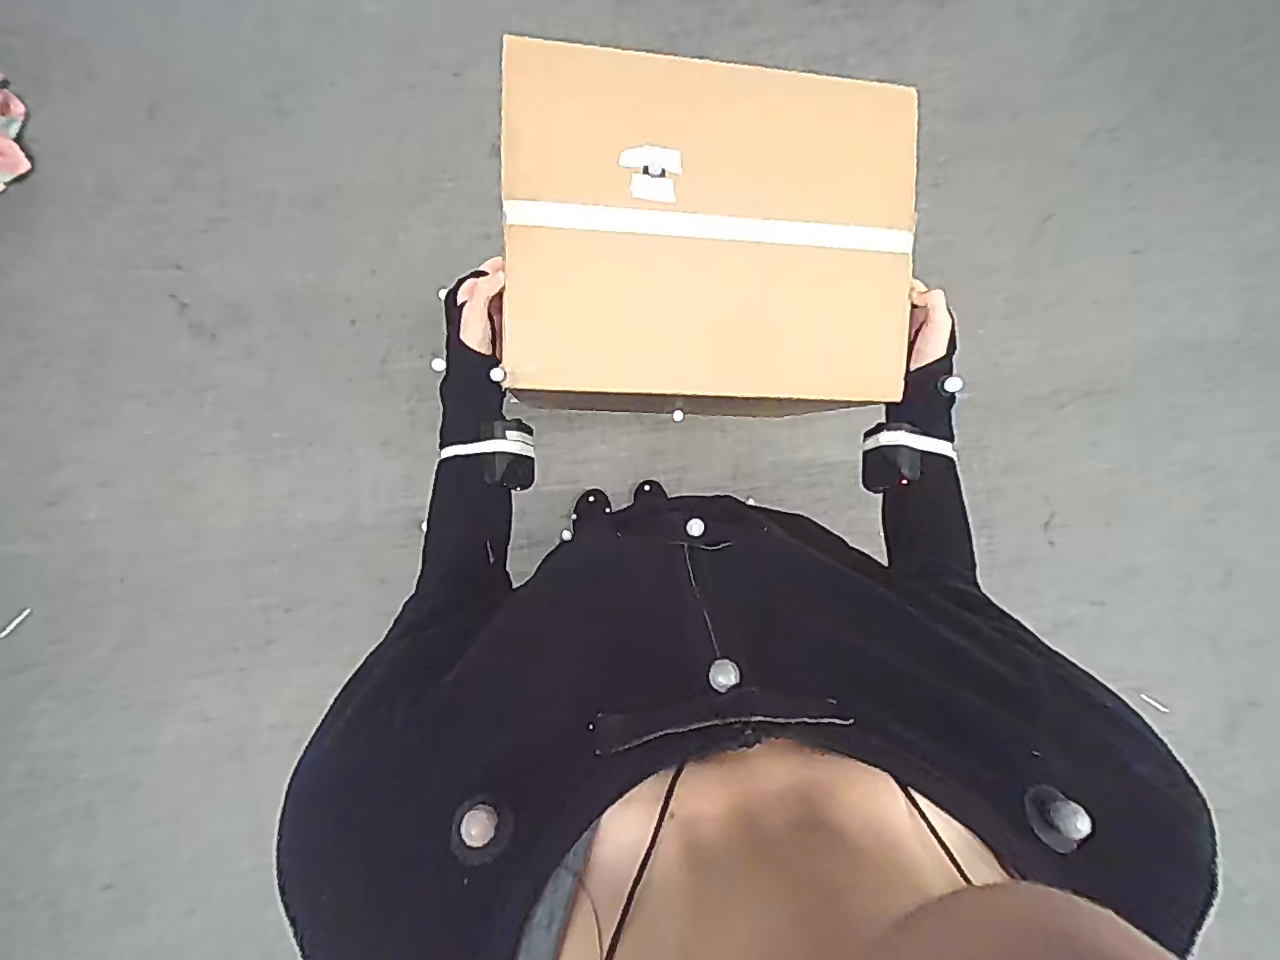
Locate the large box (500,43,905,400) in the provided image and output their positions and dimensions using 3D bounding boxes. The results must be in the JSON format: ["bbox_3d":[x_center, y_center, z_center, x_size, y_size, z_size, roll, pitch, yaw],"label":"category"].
[{"bbox_3d":[0.051,-0.261,0.676,0.408,0.320,0.320,1,94,-7],"label":"large box"}]
